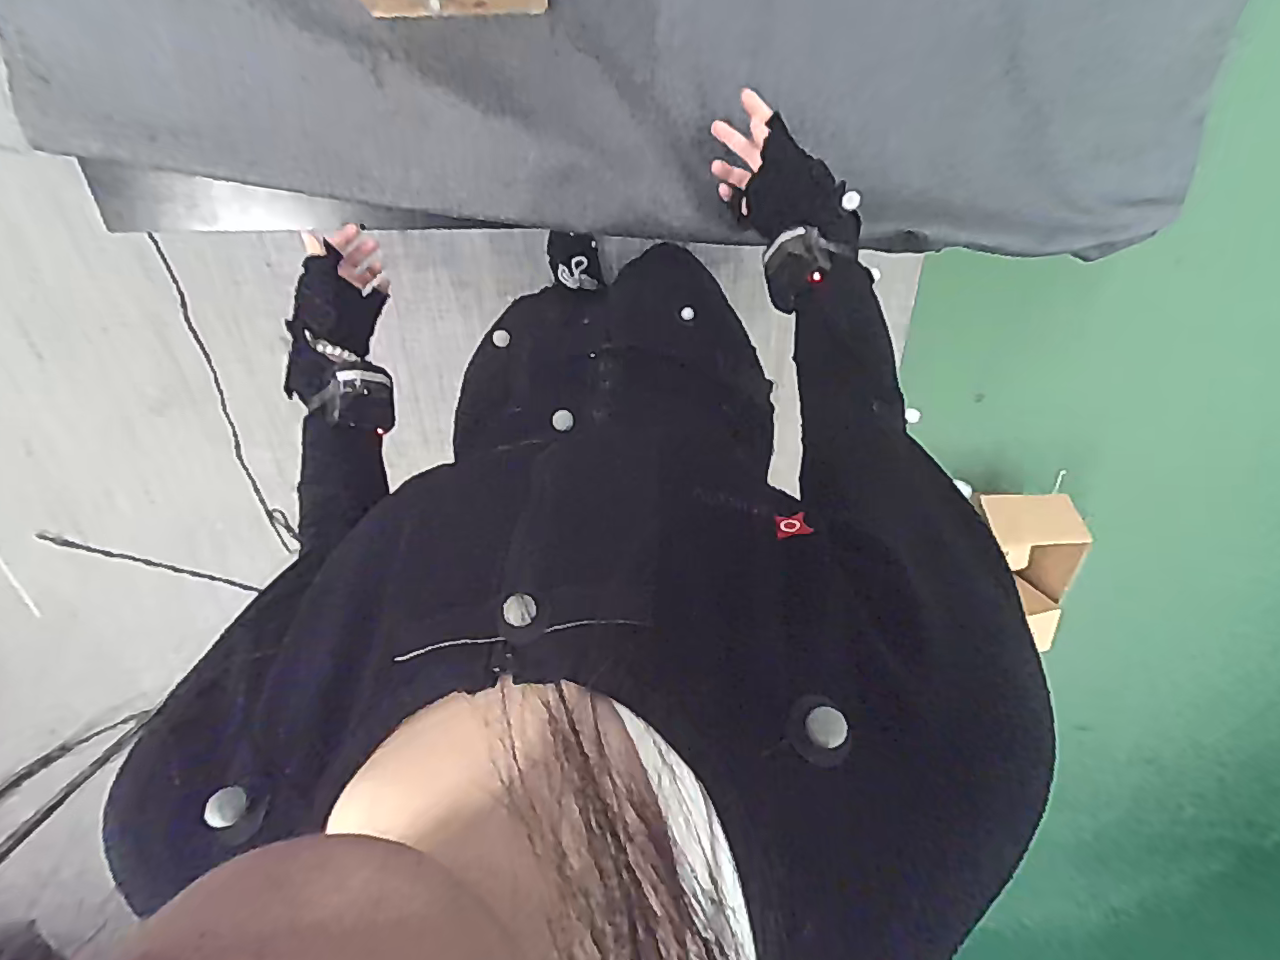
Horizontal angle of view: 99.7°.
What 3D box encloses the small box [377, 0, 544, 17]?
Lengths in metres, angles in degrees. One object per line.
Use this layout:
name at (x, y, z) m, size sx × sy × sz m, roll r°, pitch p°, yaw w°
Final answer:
small box at (-0.164, -0.489, 0.412) m, size 0.168 × 0.176 × 0.179 m, roll -6°, pitch 119°, yaw -5°
